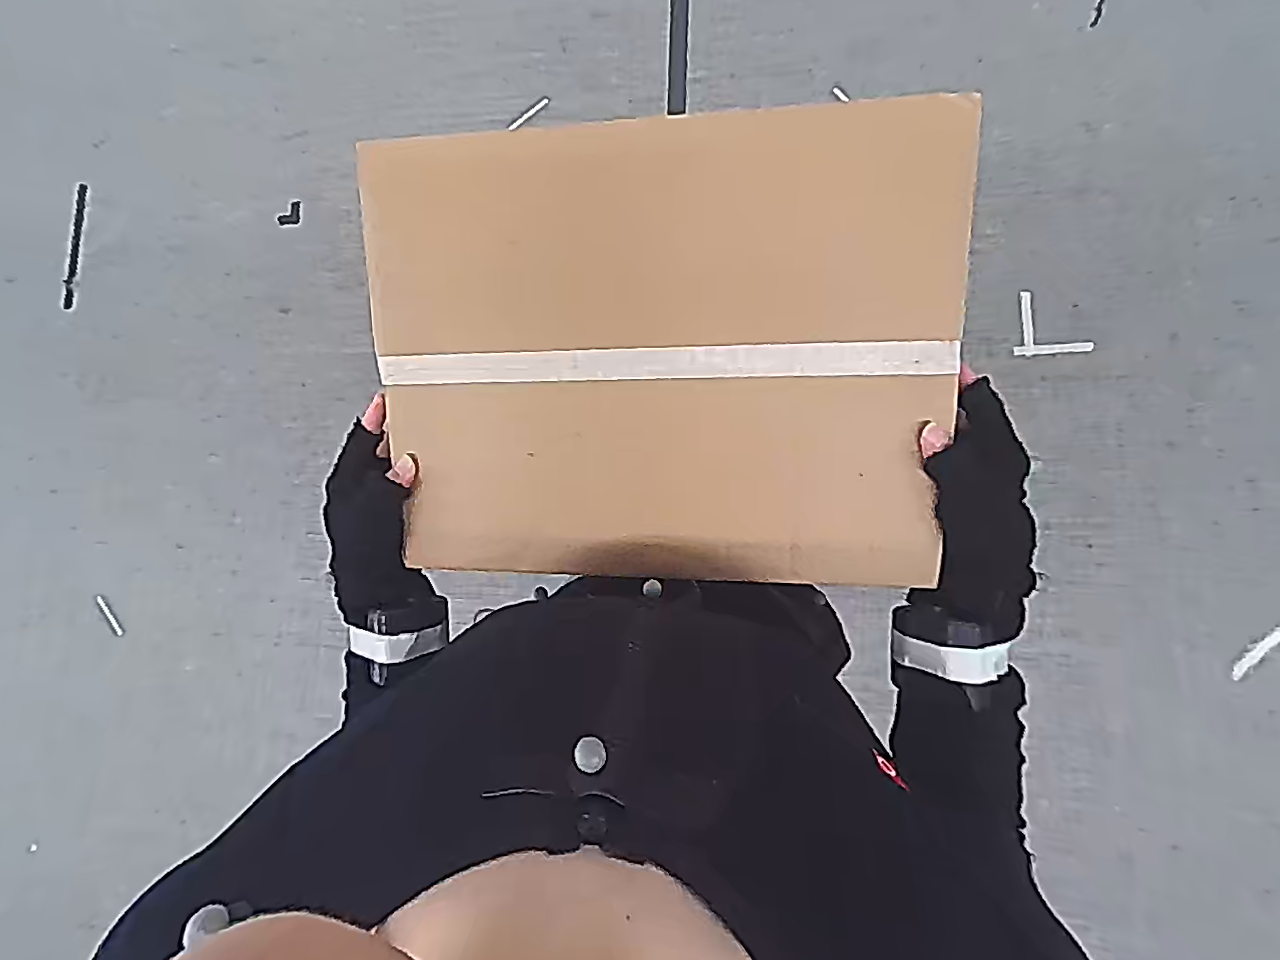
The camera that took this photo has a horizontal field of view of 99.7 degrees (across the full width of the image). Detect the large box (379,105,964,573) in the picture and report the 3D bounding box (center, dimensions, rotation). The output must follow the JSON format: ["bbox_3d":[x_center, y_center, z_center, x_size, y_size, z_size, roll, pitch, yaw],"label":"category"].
[{"bbox_3d":[0.028,-0.110,0.535,0.408,0.320,0.320,1,102,8],"label":"large box"}]
